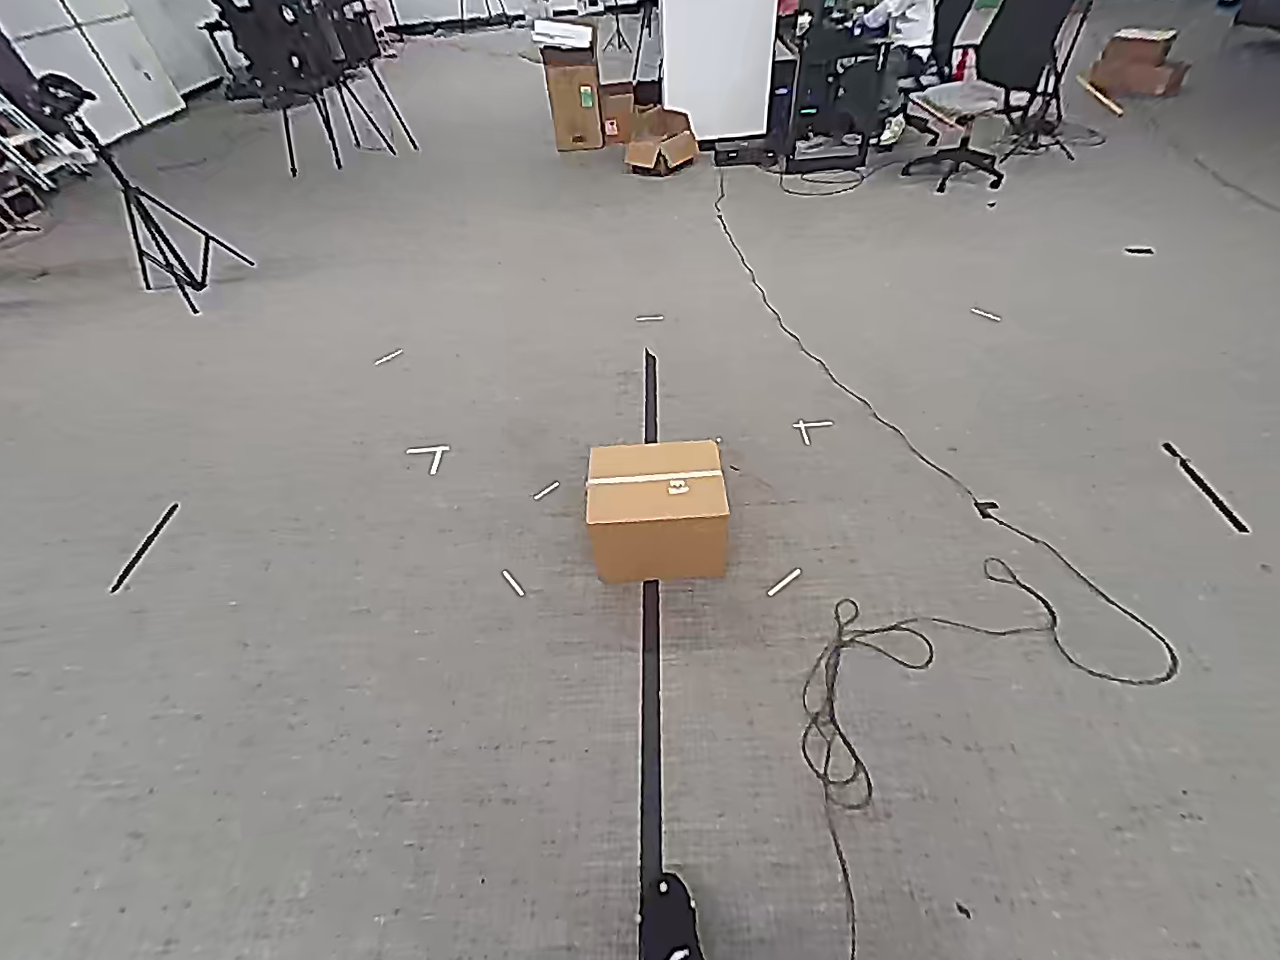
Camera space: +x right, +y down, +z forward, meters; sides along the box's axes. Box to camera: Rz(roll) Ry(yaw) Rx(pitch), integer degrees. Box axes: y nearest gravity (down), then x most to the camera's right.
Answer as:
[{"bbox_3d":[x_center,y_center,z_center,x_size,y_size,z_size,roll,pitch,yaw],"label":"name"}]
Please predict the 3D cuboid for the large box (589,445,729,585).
[{"bbox_3d":[0.055,0.113,1.720,0.408,0.320,0.320,-3,47,2],"label":"large box"}]
